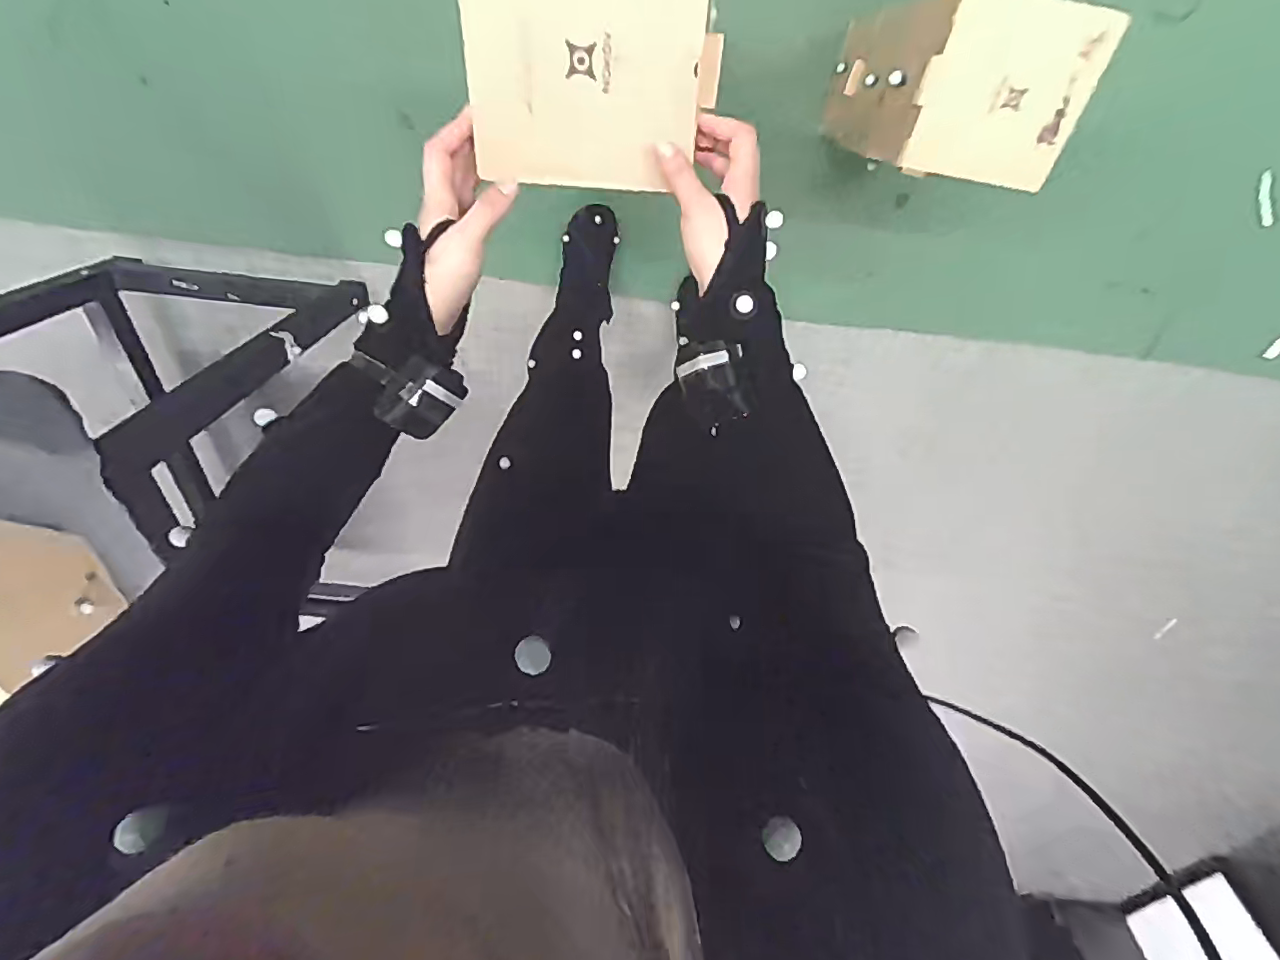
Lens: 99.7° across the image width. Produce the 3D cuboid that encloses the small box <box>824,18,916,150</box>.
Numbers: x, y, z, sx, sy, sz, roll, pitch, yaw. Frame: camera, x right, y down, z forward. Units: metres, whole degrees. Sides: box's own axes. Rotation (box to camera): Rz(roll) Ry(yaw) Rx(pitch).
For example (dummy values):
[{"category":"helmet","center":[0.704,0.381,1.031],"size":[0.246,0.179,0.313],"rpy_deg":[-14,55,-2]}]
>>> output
[{"category":"small box","center":[0.437,-0.657,0.916],"size":[0.179,0.176,0.168],"rpy_deg":[10,127,-3]}]

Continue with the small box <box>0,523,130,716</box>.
[{"category":"small box","center":[-0.843,0.172,0.703],"size":[0.179,0.176,0.168],"rpy_deg":[12,127,-3]}]

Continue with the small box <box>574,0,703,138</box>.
[{"category":"small box","center":[-0.003,-0.700,0.912],"size":[0.179,0.176,0.168],"rpy_deg":[12,126,-4]}]

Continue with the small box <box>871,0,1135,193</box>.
[{"category":"small box","center":[0.408,-0.464,0.653],"size":[0.179,0.176,0.168],"rpy_deg":[10,126,-2]}]
